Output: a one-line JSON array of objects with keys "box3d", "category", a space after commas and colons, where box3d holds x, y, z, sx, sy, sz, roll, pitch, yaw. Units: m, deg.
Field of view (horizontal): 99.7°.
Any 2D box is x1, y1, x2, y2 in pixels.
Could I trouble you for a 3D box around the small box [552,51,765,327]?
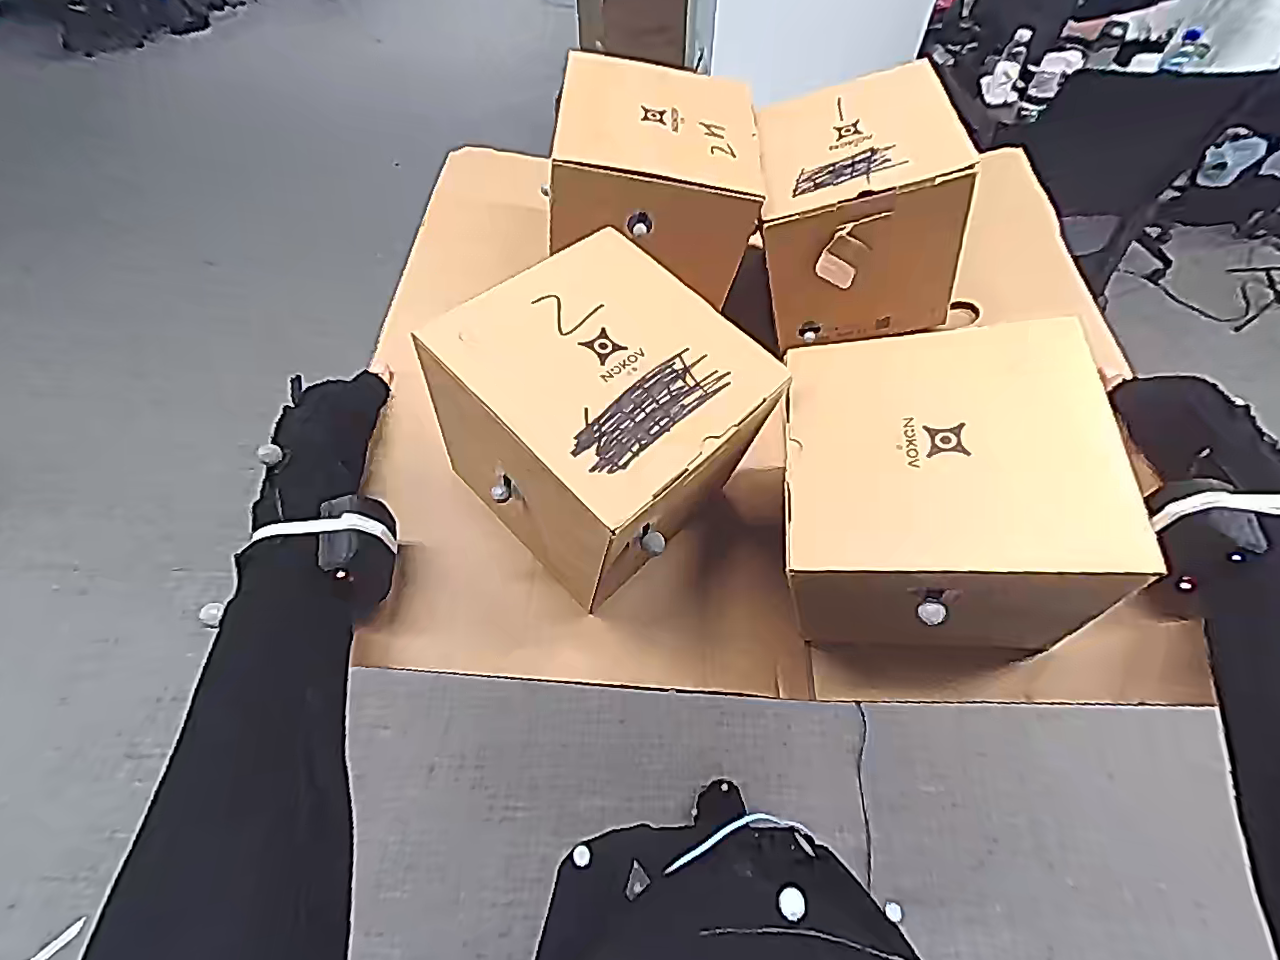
[{"box3d": [0.008, -0.275, 0.536, 0.179, 0.176, 0.168, 6, 62, -8], "category": "small box"}]
